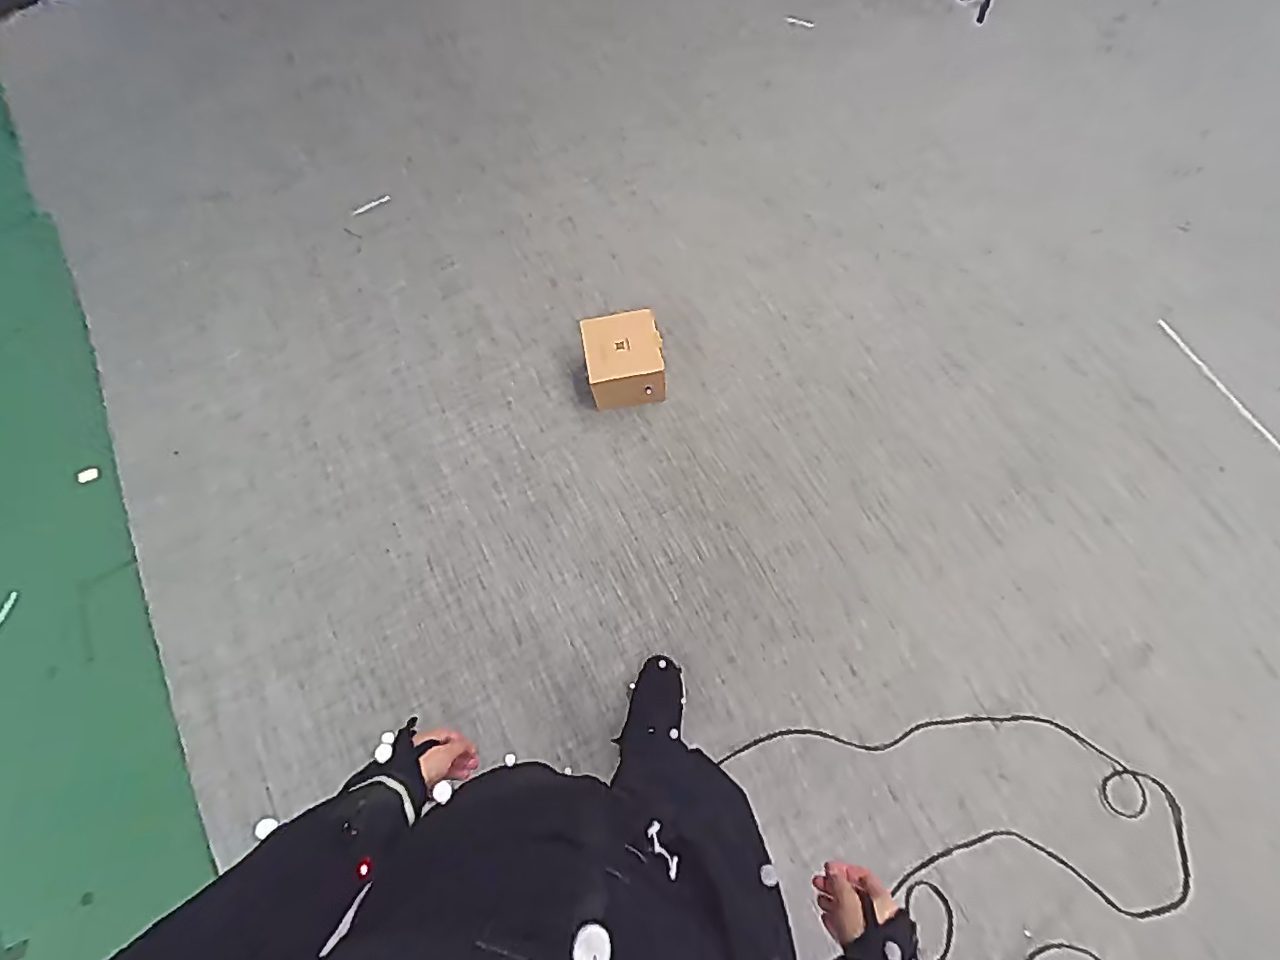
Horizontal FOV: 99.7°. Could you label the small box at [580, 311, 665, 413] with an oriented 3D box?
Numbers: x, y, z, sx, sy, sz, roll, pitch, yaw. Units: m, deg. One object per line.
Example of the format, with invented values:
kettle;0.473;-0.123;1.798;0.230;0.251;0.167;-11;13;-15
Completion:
small box;-0.038;-0.280;1.315;0.179;0.176;0.168;-11;73;1
